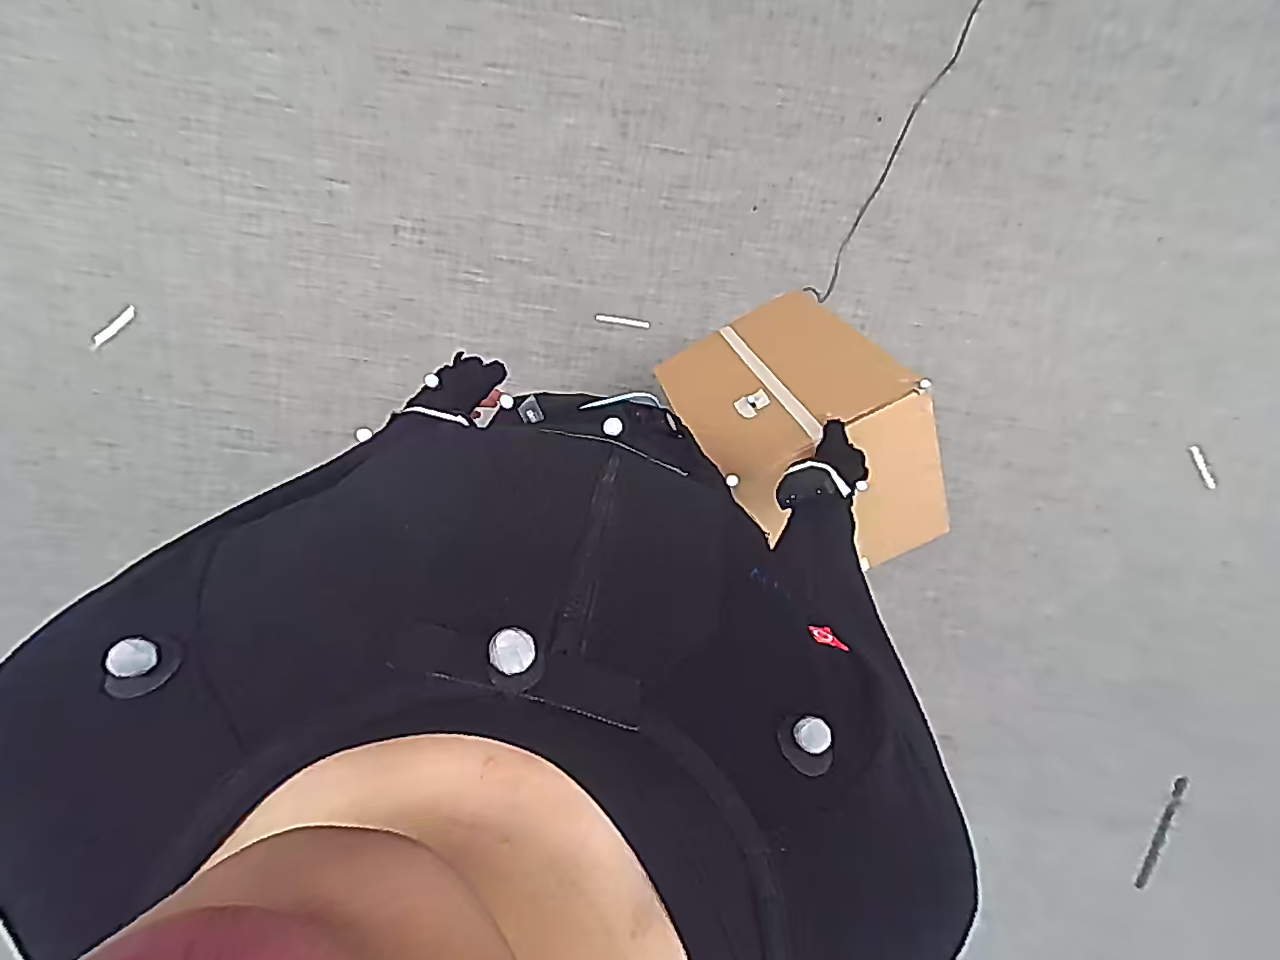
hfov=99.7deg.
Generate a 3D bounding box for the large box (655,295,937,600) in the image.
[{"bbox_3d":[0.266,-0.070,0.980,0.320,0.408,0.320,-28,129,7],"label":"large box"}]
